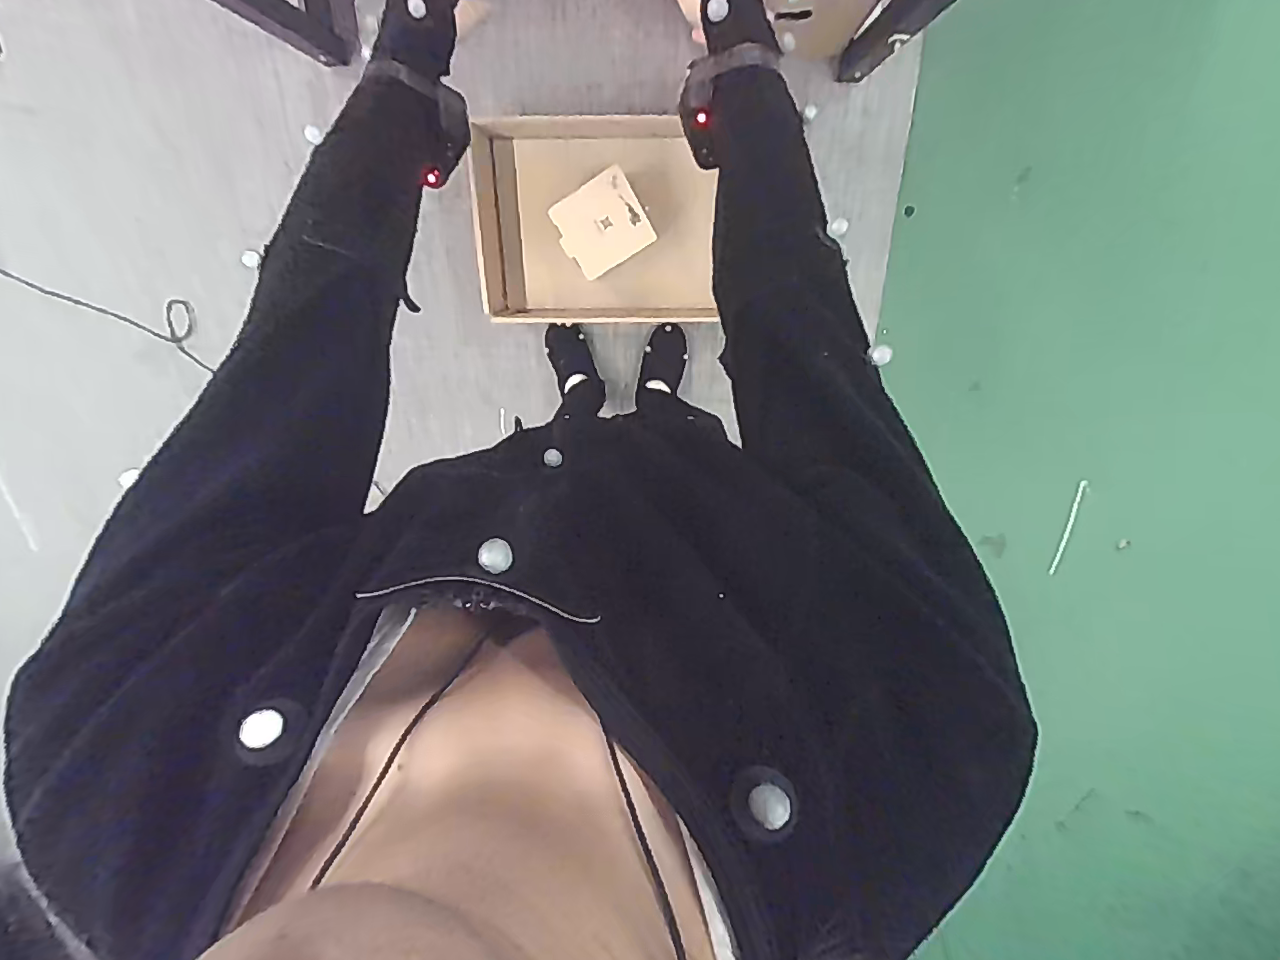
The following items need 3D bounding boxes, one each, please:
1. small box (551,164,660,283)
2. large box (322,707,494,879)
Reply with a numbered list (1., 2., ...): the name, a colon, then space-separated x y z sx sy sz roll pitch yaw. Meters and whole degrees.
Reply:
1. small box: -0.066 -0.554 1.188 0.179 0.176 0.168 -28 109 13
2. large box: -0.780 1.069 1.864 0.408 0.320 0.320 29 110 -8
